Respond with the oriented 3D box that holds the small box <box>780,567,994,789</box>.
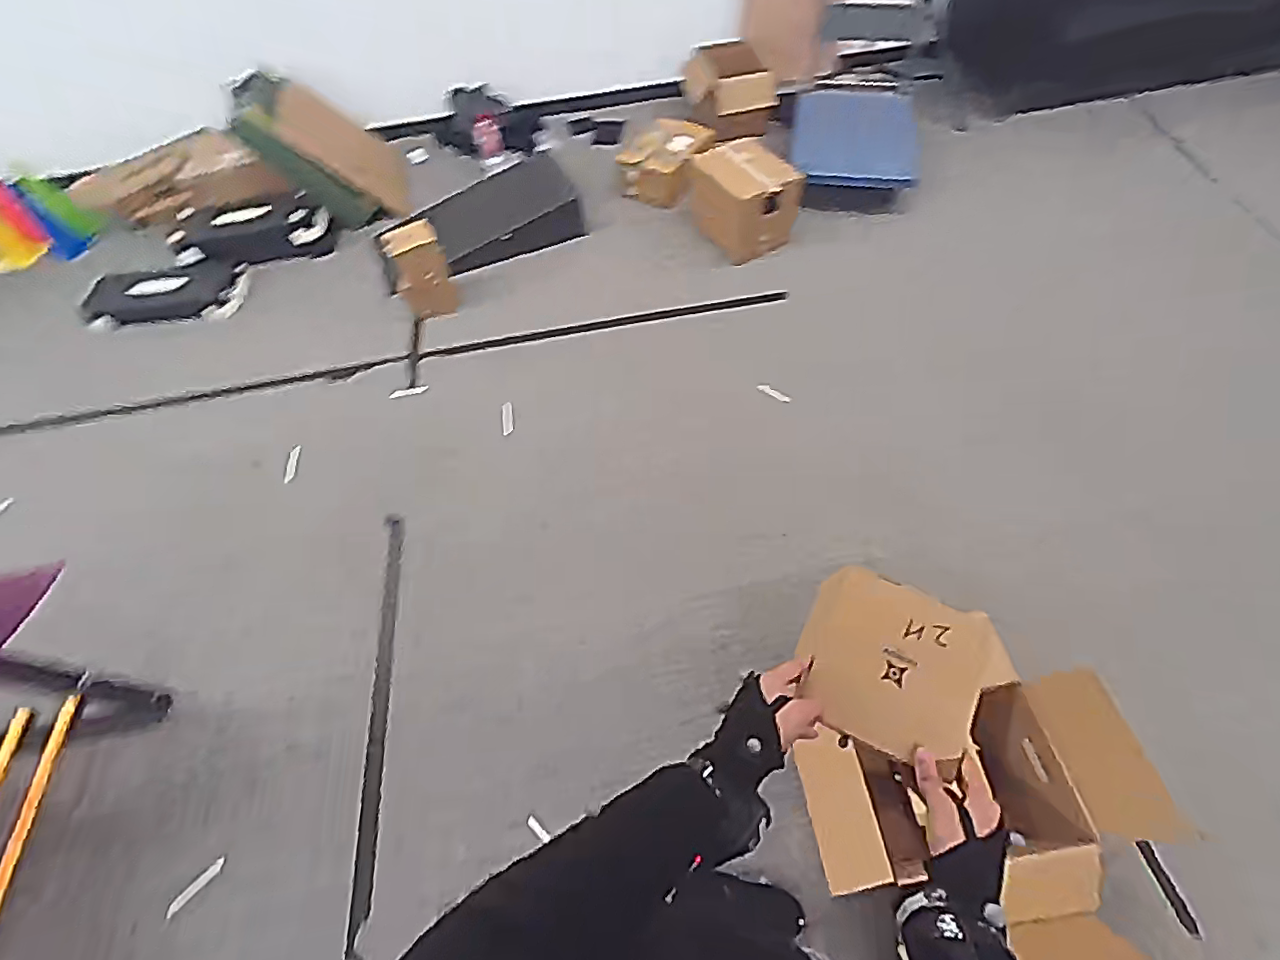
[{"bbox_3d":[0.279,0.229,0.649,0.168,0.176,0.179,23,74,13],"label":"small box"}]
